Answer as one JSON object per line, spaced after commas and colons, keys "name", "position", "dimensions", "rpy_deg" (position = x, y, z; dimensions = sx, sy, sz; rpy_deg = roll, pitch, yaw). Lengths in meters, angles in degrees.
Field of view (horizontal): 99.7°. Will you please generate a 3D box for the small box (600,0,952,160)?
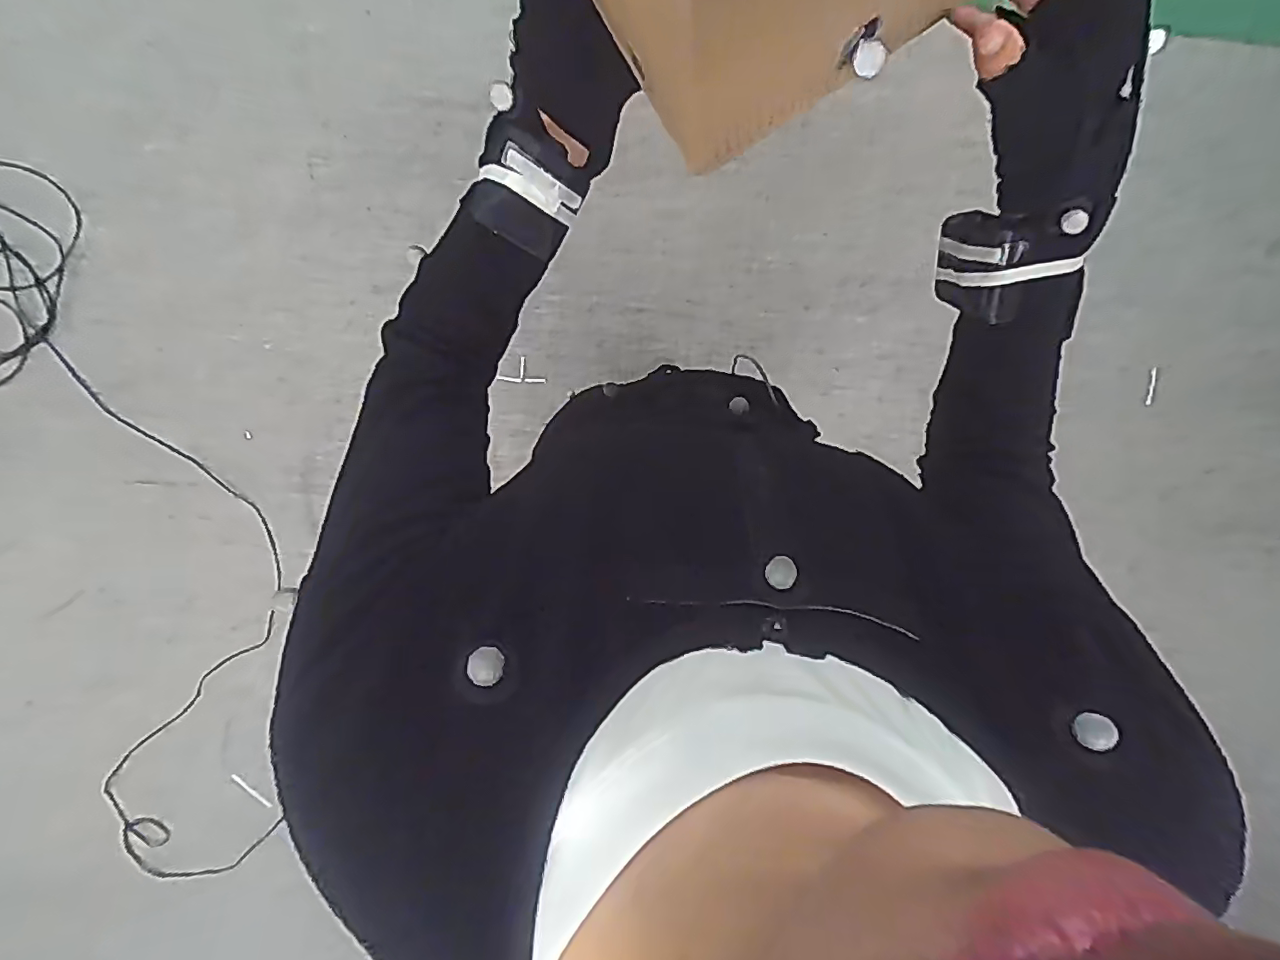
{"name": "small box", "position": [0.057, -0.268, 0.199], "dimensions": [0.179, 0.176, 0.168], "rpy_deg": [-30, 94, 9]}
